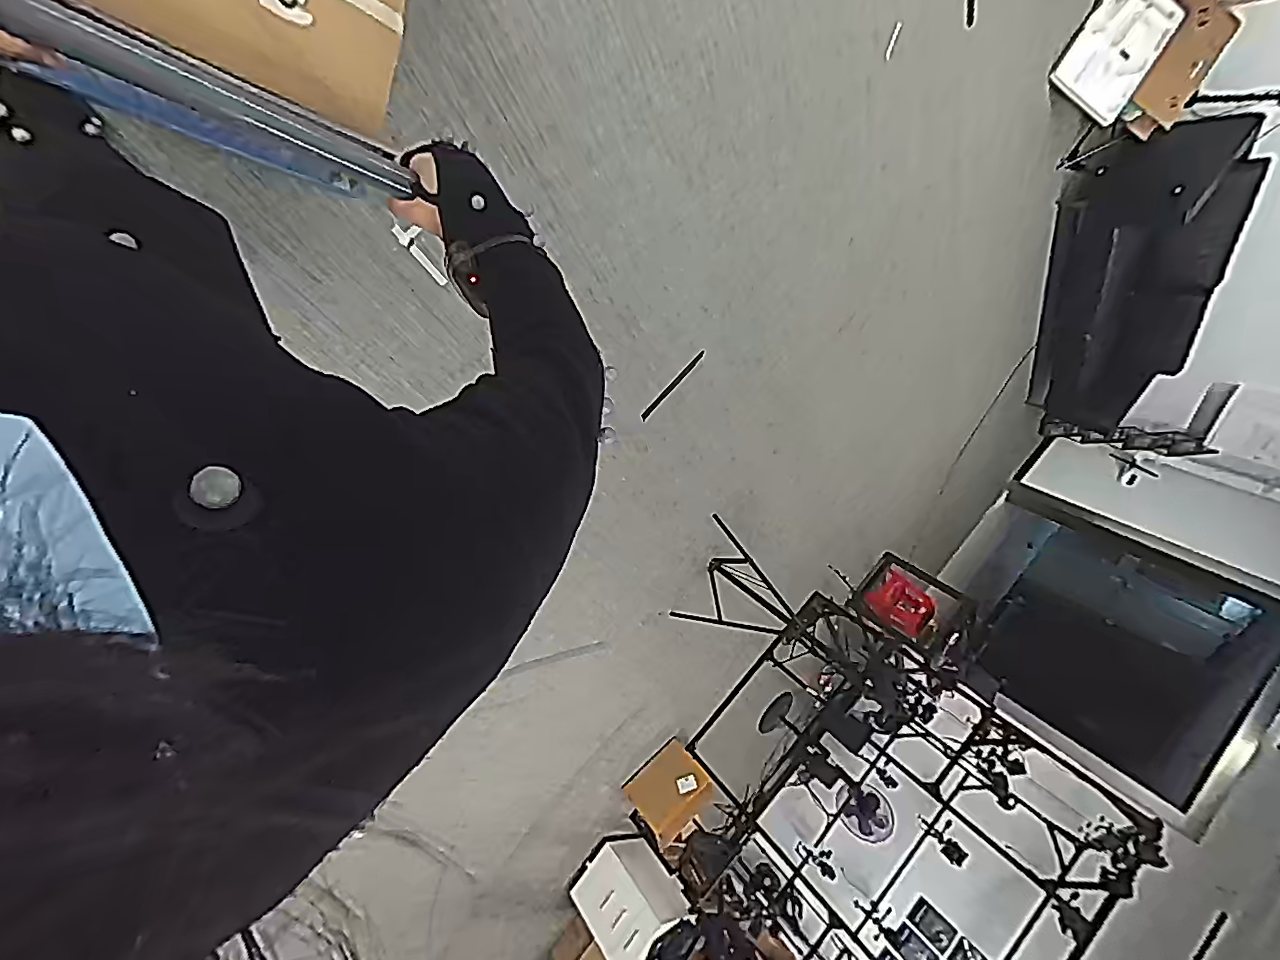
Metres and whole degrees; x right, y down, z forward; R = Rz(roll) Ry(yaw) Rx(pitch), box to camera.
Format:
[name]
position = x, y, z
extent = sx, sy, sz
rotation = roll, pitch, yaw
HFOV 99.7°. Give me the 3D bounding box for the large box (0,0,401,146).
[large box]
position = -0.586, -0.707, 0.726
extent = 0.408, 0.320, 0.320
rotation = 4, 113, -46
